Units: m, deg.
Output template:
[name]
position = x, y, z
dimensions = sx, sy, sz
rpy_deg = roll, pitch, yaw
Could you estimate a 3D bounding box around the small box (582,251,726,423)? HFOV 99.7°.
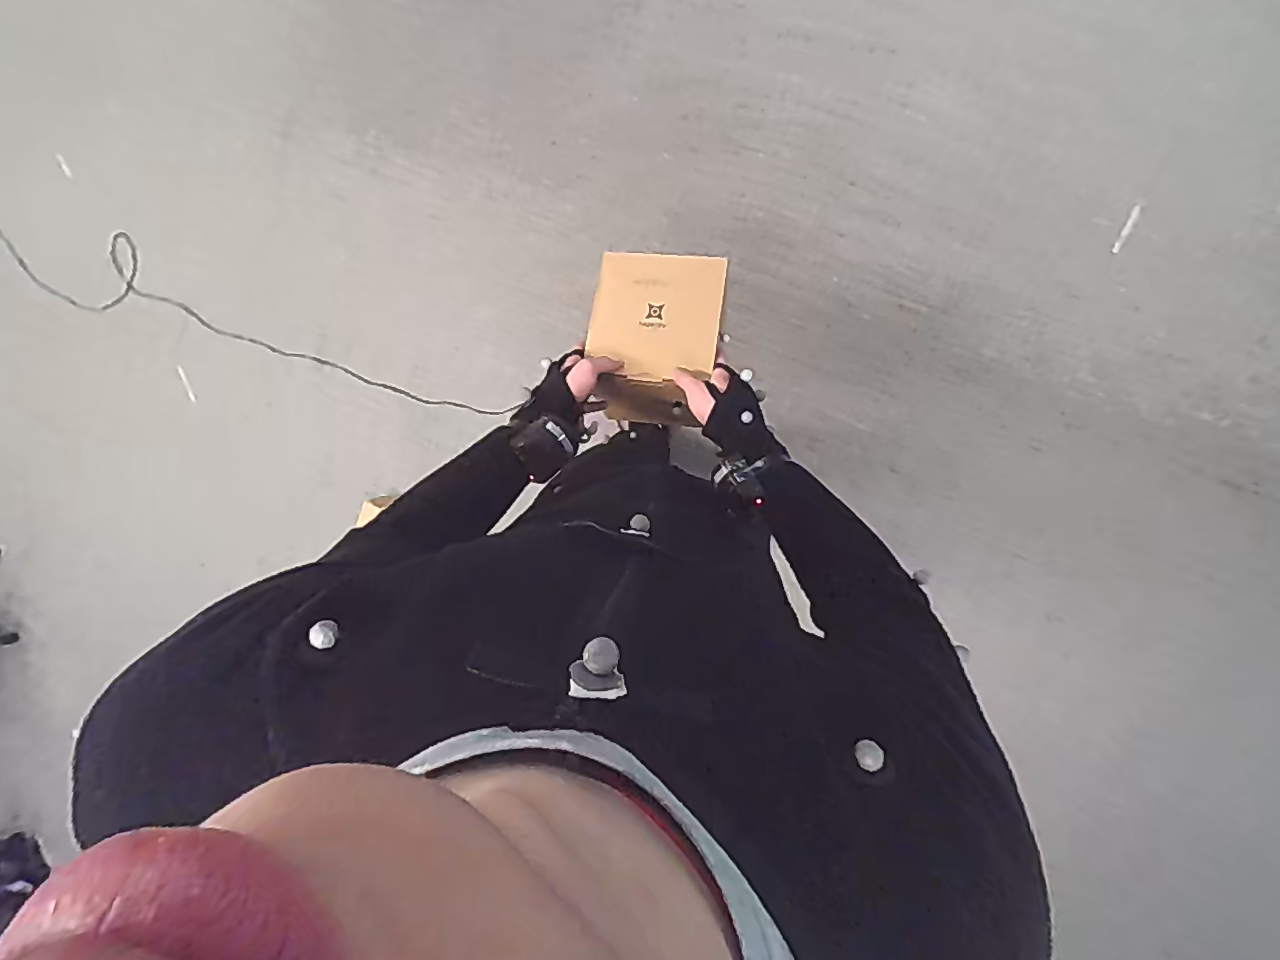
[small box]
position = 0.029, -0.191, 0.759
dimensions = 0.168, 0.176, 0.179
rpy_deg = 6, 75, 9
